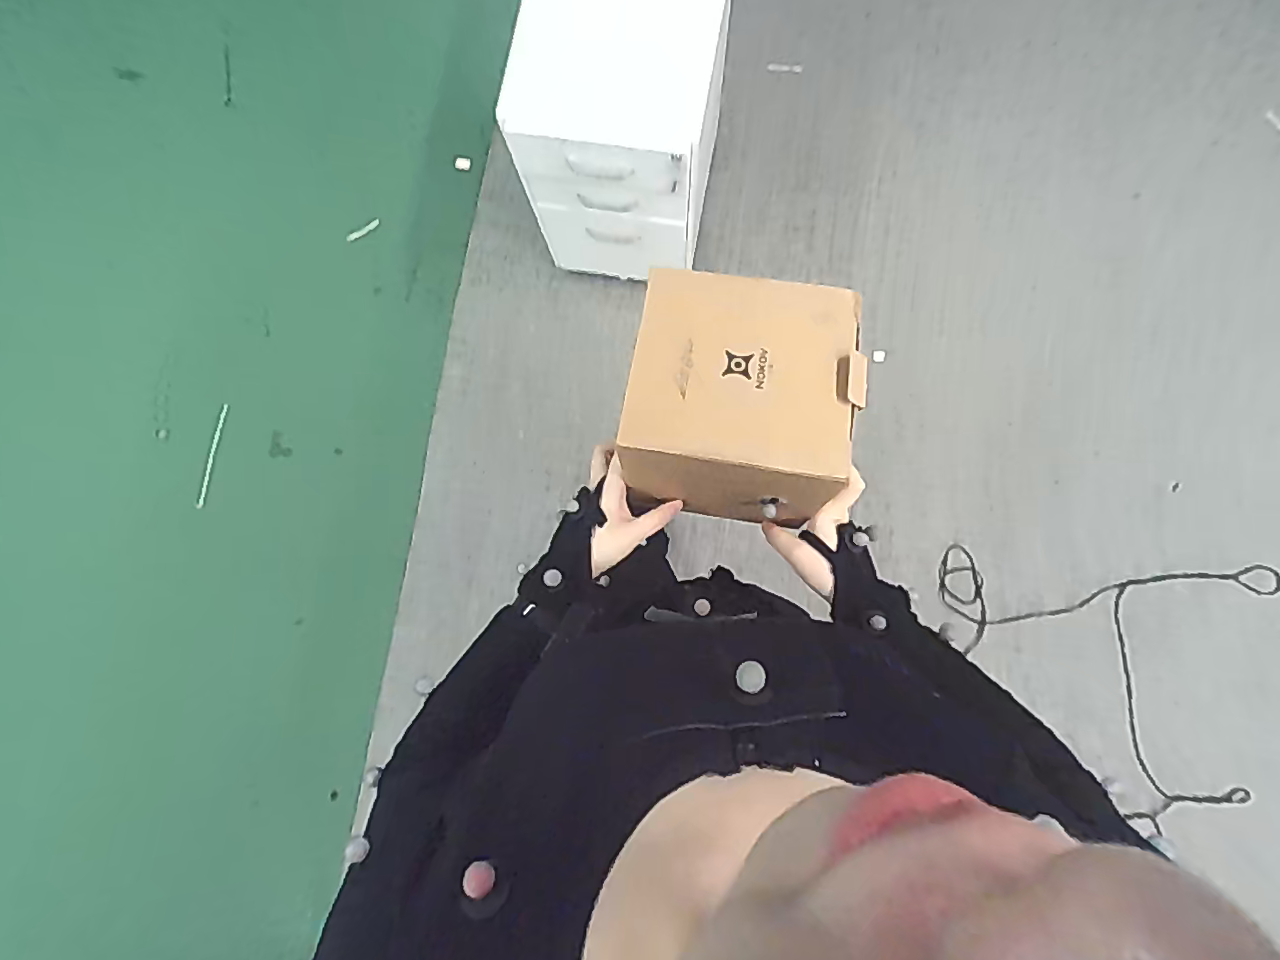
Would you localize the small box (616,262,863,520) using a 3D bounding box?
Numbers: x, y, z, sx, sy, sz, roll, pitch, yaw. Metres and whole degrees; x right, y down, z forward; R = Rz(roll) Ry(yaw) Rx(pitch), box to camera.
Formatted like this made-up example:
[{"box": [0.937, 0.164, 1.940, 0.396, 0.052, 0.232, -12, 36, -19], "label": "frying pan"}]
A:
[{"box": [0.085, -0.068, 0.496, 0.179, 0.176, 0.168, 8, 72, 7], "label": "small box"}]
